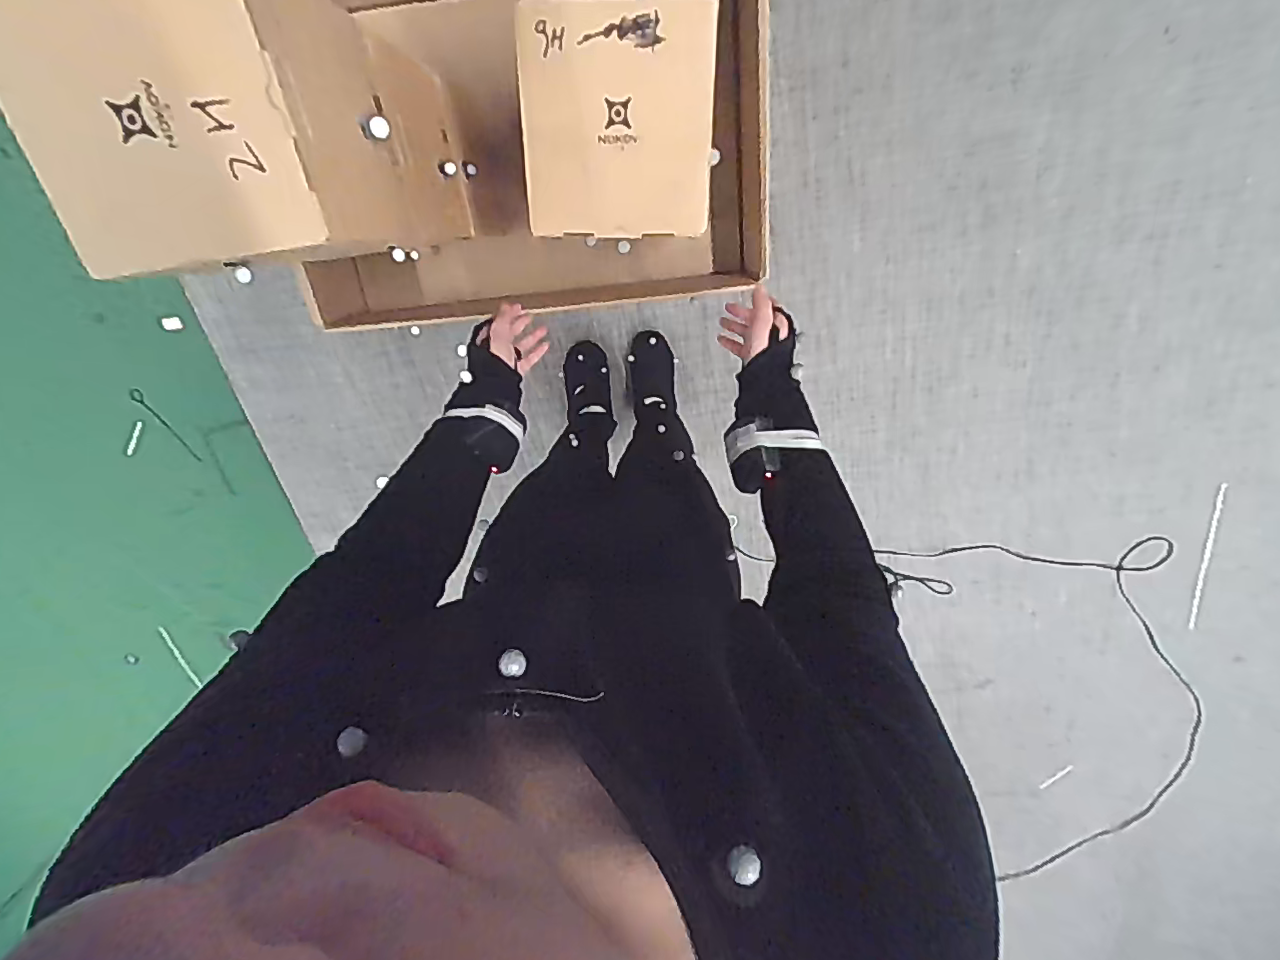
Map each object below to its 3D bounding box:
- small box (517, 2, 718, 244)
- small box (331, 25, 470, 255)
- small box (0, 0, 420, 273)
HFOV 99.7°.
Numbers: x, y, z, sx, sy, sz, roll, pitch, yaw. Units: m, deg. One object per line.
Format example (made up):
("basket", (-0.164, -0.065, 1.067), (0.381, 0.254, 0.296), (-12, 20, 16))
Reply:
("small box", (-0.018, -0.337, 0.541), (0.168, 0.176, 0.179), (1, 115, 1))
("small box", (-0.299, -0.327, 0.556), (0.179, 0.176, 0.168), (-6, 115, 2))
("small box", (-0.298, -0.256, 0.407), (0.179, 0.176, 0.168), (-7, 115, 3))
